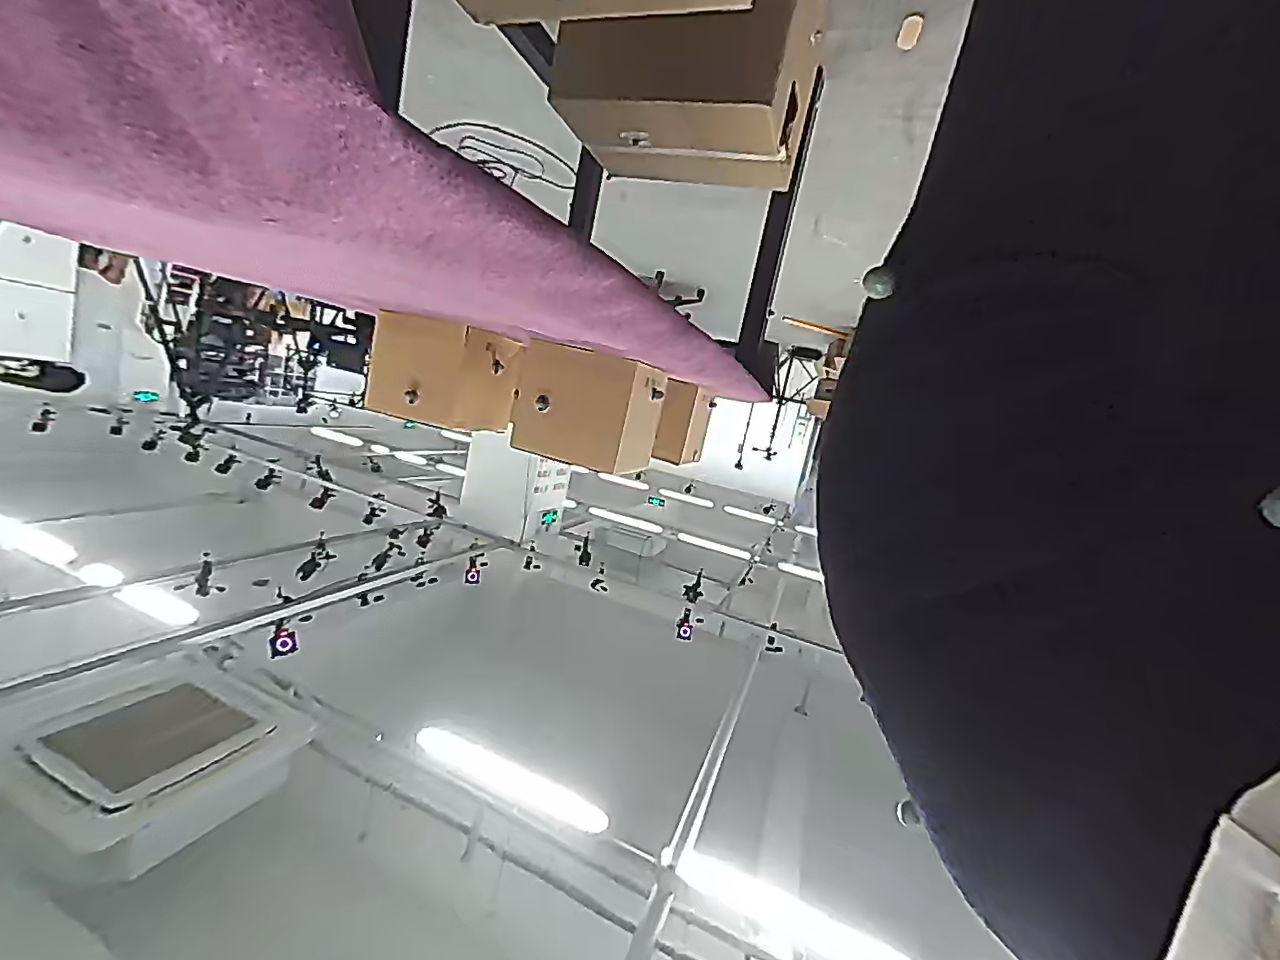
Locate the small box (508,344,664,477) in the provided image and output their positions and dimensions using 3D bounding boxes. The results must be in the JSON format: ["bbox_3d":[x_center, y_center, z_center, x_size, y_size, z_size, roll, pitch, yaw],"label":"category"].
[{"bbox_3d":[-0.079,-0.113,0.854,0.179,0.176,0.168,16,-170,17],"label":"small box"}]

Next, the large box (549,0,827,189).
[{"bbox_3d":[0.101,-0.782,1.008,0.408,0.320,0.320,16,-171,18],"label":"large box"}]

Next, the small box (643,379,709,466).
[{"bbox_3d":[0.044,-0.136,1.195,0.179,0.176,0.168,17,-171,19],"label":"small box"}]

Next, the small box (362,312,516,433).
[{"bbox_3d":[-0.335,-0.181,0.926,0.179,0.176,0.168,14,-172,17],"label":"small box"}]
